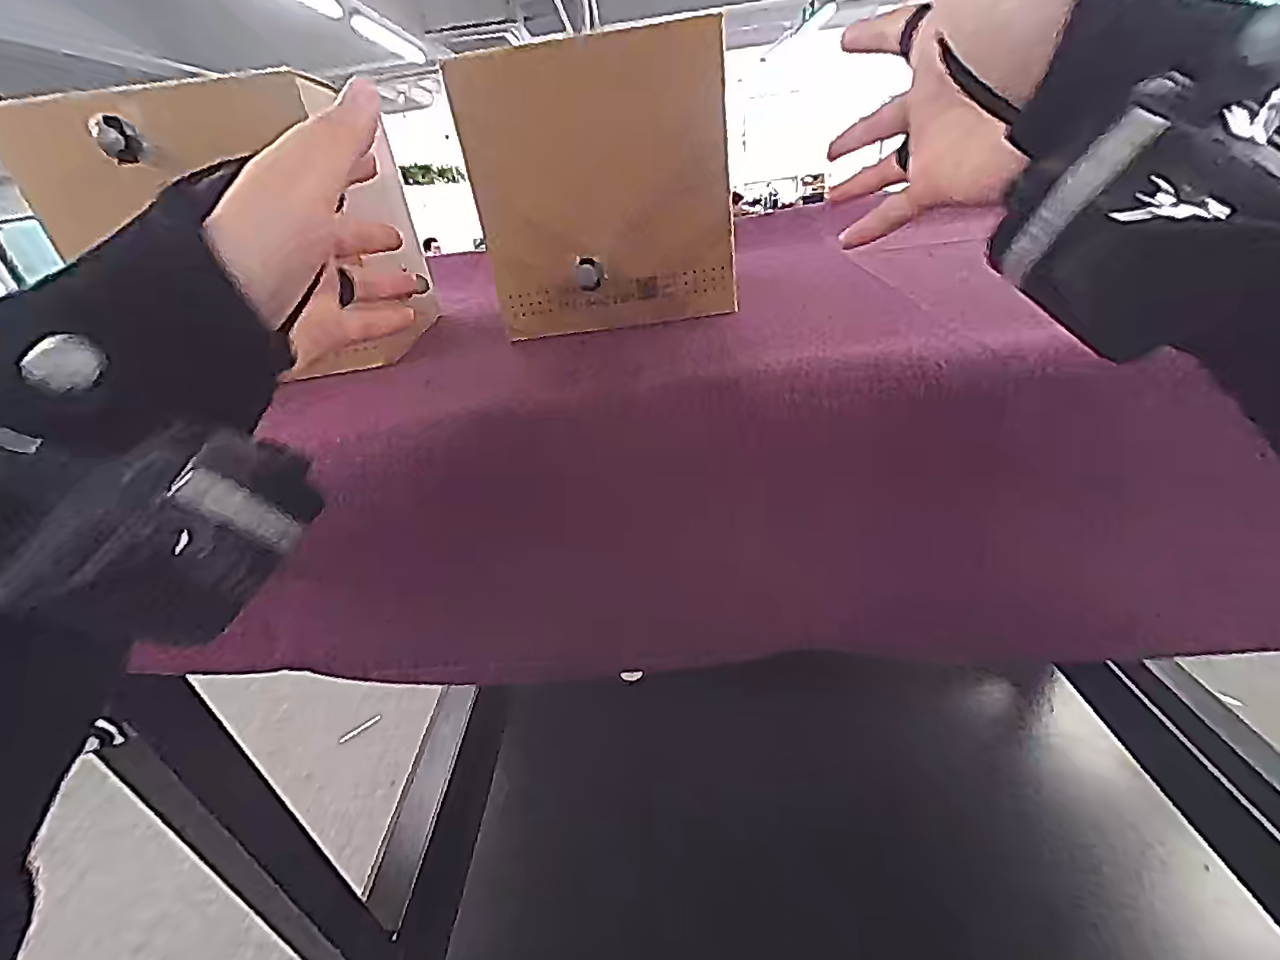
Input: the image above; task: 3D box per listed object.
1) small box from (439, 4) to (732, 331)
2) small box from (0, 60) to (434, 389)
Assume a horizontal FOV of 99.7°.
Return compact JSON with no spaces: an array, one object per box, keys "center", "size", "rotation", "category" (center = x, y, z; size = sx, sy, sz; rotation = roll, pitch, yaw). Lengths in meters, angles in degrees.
[{"center":[-0.026,-0.222,0.415],"size":[0.168,0.176,0.179],"rotation":[-8,29,3],"category":"small box"},{"center":[-0.267,-0.178,0.397],"size":[0.168,0.176,0.179],"rotation":[-11,28,-4],"category":"small box"}]
